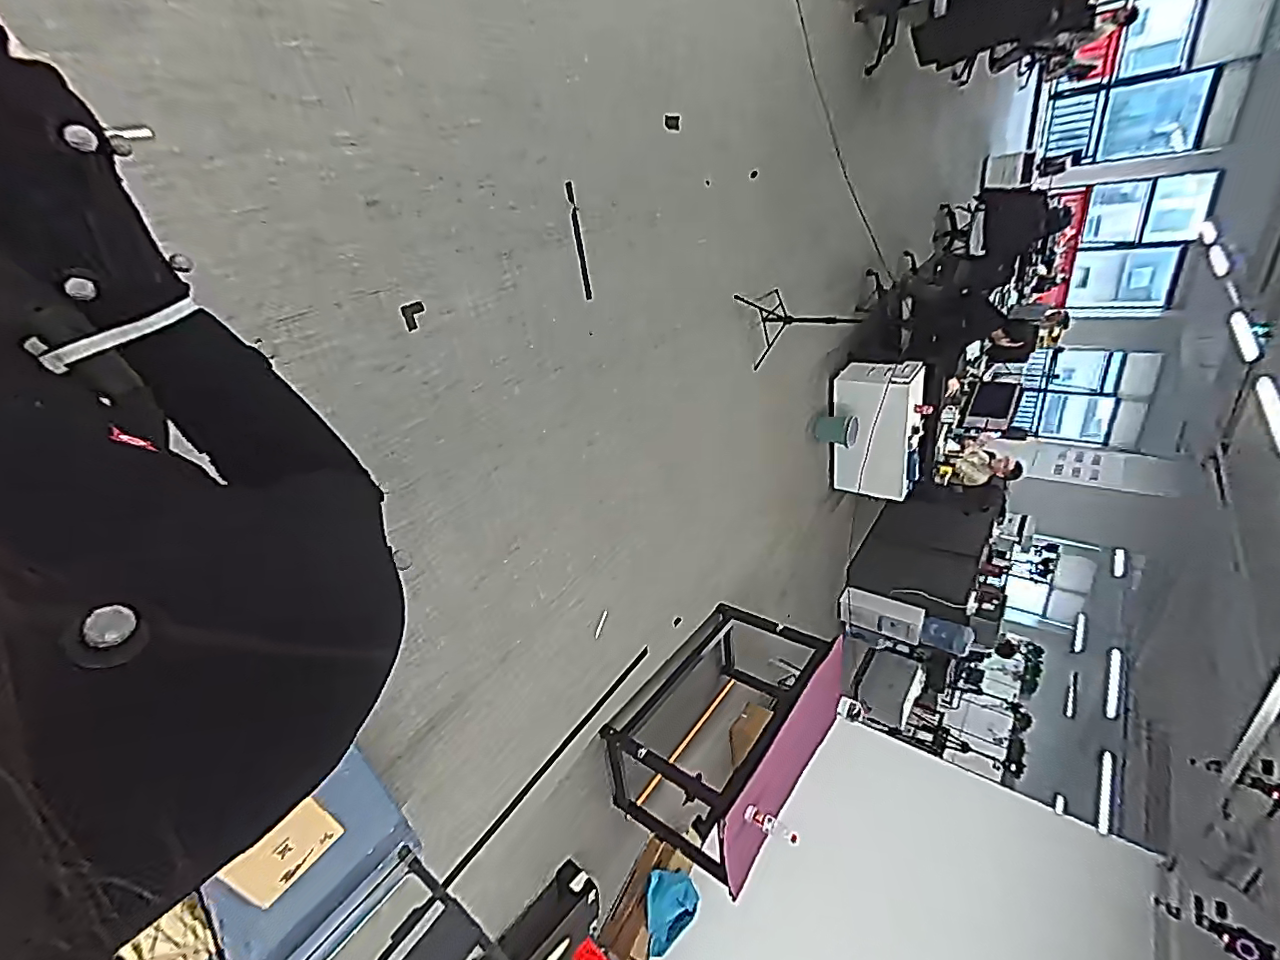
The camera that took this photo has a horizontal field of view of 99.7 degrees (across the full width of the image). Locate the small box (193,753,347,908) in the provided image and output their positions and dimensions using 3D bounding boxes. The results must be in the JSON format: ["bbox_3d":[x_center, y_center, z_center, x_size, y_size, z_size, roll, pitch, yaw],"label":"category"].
[{"bbox_3d":[-0.731,0.678,1.069,0.168,0.176,0.179,-41,130,-37],"label":"small box"}]

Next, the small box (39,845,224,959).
[{"bbox_3d":[-0.865,0.779,0.925,0.168,0.176,0.179,-35,126,-41],"label":"small box"}]
